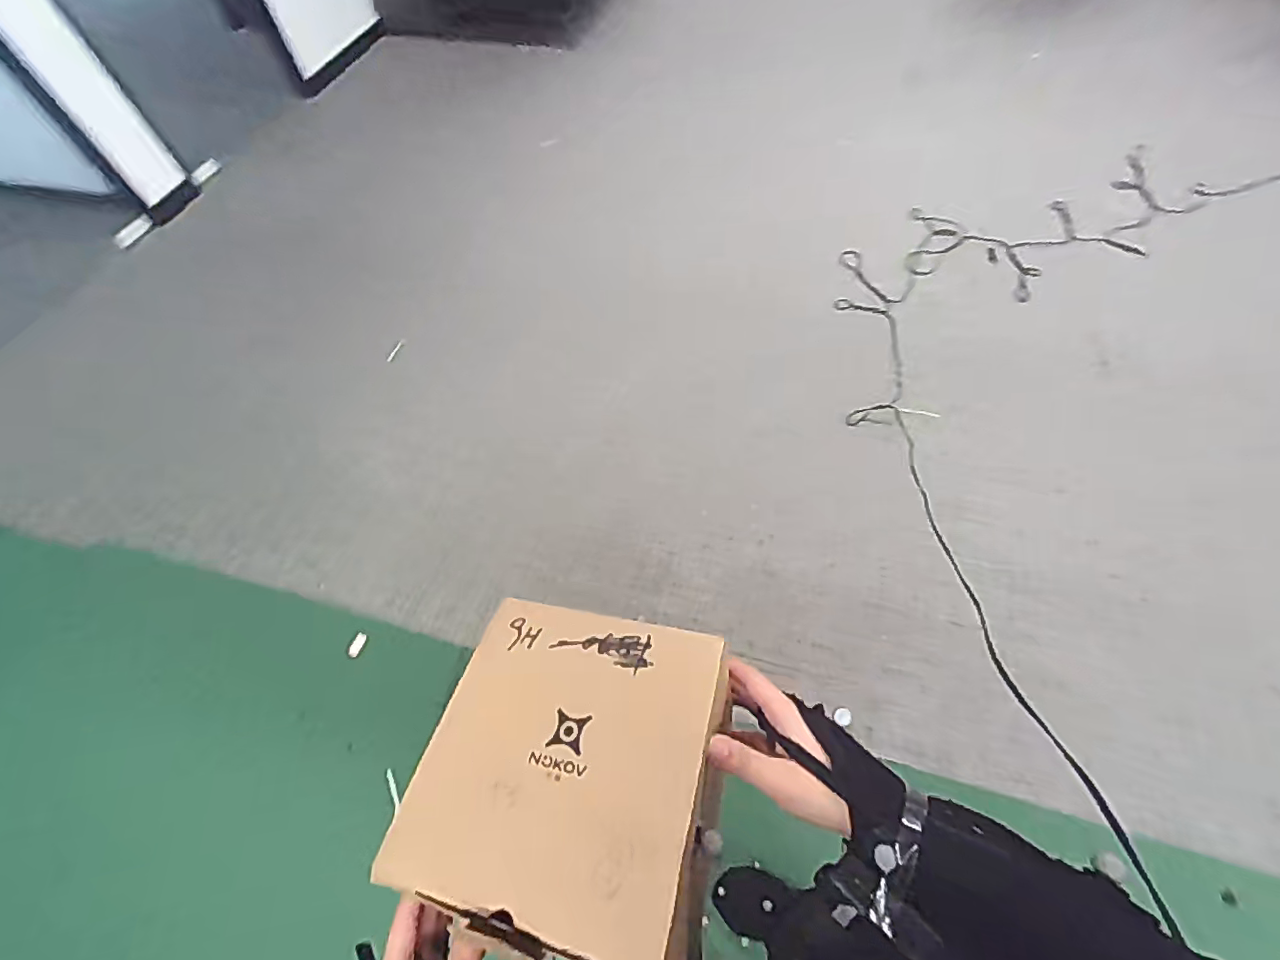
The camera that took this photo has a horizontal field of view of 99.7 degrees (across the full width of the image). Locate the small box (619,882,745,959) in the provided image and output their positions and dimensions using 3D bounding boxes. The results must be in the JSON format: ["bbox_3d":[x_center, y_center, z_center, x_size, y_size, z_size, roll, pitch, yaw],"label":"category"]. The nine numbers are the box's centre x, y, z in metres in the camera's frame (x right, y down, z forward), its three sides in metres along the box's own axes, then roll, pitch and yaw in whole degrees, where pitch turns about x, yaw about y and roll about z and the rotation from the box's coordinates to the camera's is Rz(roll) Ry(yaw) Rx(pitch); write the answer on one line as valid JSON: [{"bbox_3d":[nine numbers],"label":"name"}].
[{"bbox_3d":[0.075,0.870,0.973,0.179,0.176,0.168,29,59,33],"label":"small box"}]
